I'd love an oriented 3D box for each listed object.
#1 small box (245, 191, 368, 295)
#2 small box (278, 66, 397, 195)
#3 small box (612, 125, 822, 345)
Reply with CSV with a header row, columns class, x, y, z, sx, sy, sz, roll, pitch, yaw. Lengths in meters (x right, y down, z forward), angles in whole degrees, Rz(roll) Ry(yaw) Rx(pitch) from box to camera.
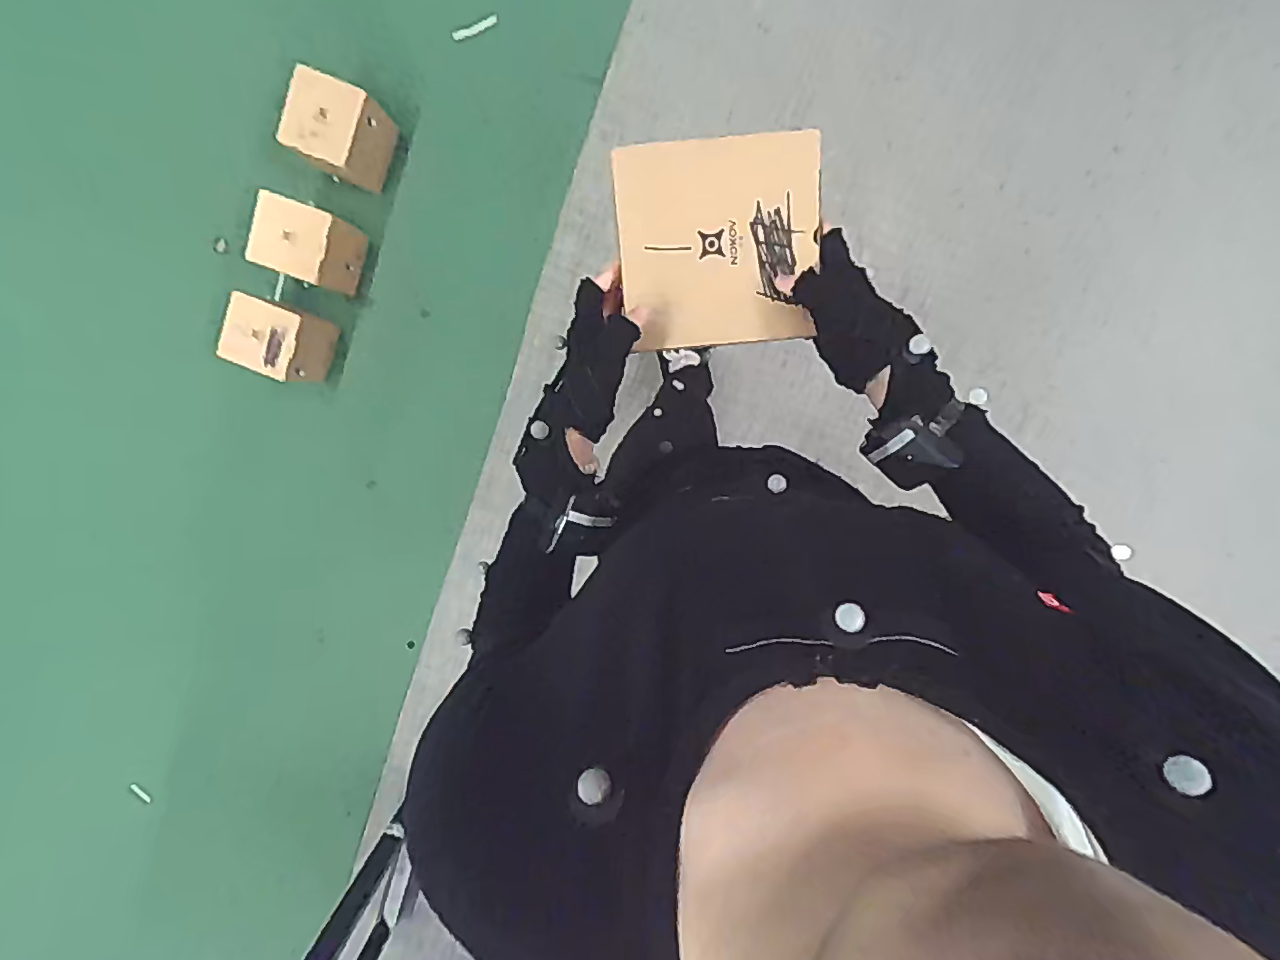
class,x,y,z,sx,sy,sz,roll,pitch,yaw
small box,-0.816,-0.575,1.337,0.179,0.176,0.168,19,98,-2
small box,-0.715,-0.827,1.298,0.168,0.176,0.179,22,97,-2
small box,0.065,-0.224,0.537,0.179,0.176,0.168,-5,103,-1
